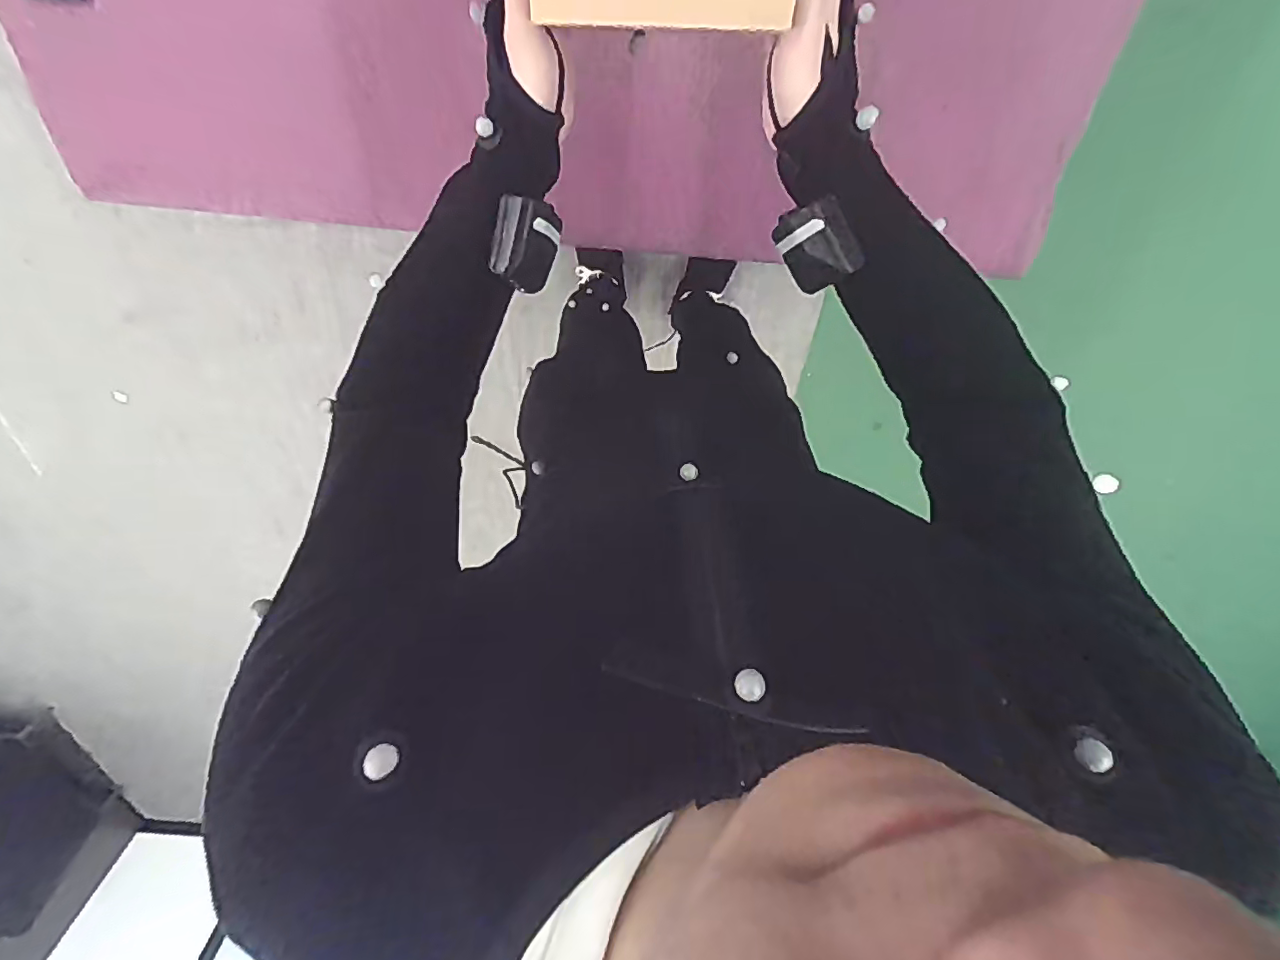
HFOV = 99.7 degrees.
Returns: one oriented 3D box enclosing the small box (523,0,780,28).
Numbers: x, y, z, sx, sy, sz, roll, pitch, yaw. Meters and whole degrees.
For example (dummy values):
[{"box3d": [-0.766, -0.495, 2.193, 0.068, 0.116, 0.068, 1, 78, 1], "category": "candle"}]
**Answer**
[{"box3d": [0.011, -0.408, 0.344, 0.168, 0.176, 0.179, 3, 130, 1], "category": "small box"}]
